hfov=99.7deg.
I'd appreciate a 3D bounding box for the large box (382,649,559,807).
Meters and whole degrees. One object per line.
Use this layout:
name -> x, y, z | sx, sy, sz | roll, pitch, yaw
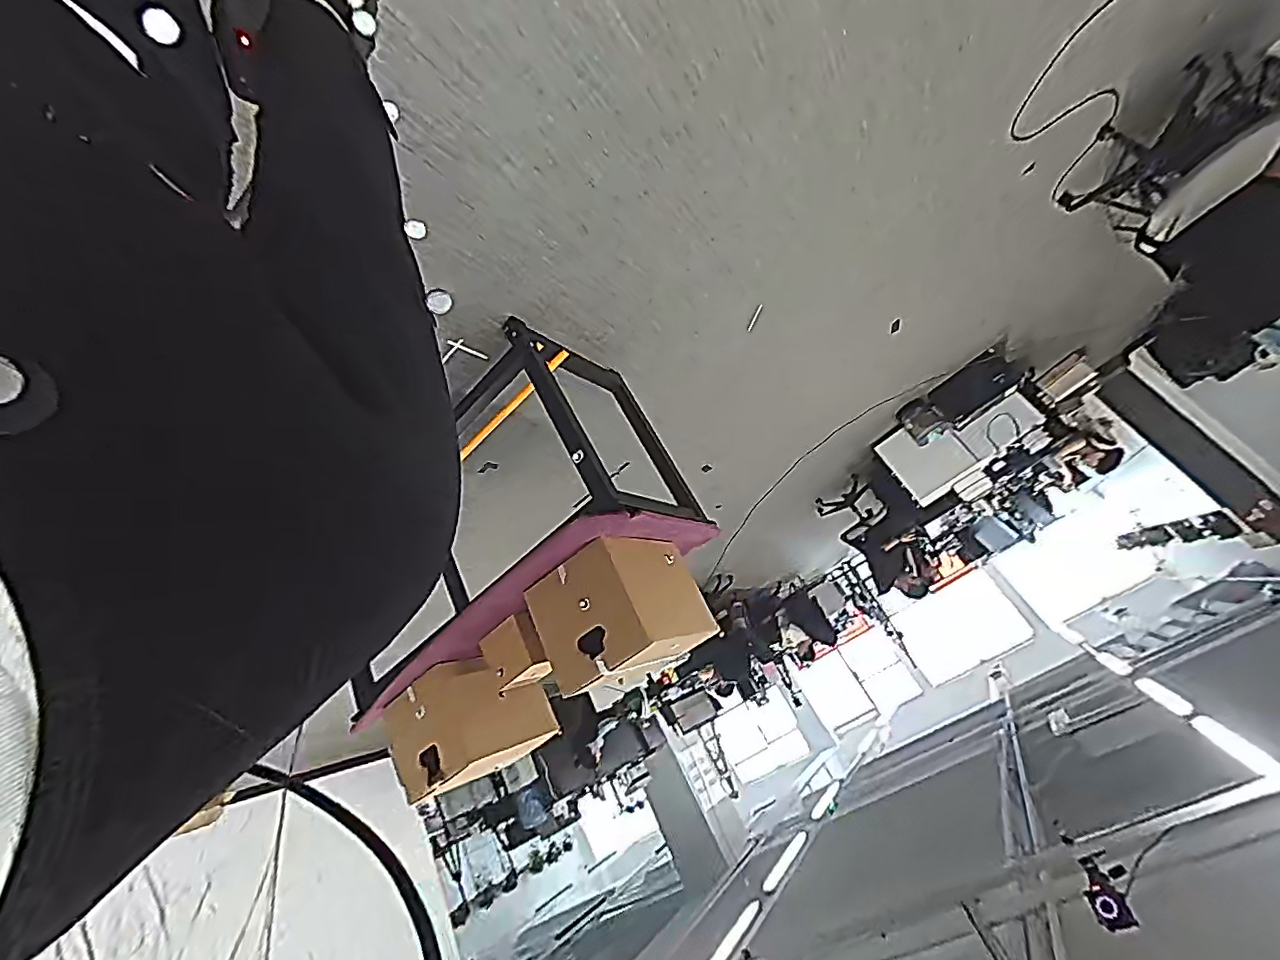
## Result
large box -> -0.556, 0.794, 1.789 | 0.320, 0.320, 0.408 | -39, 155, 20
